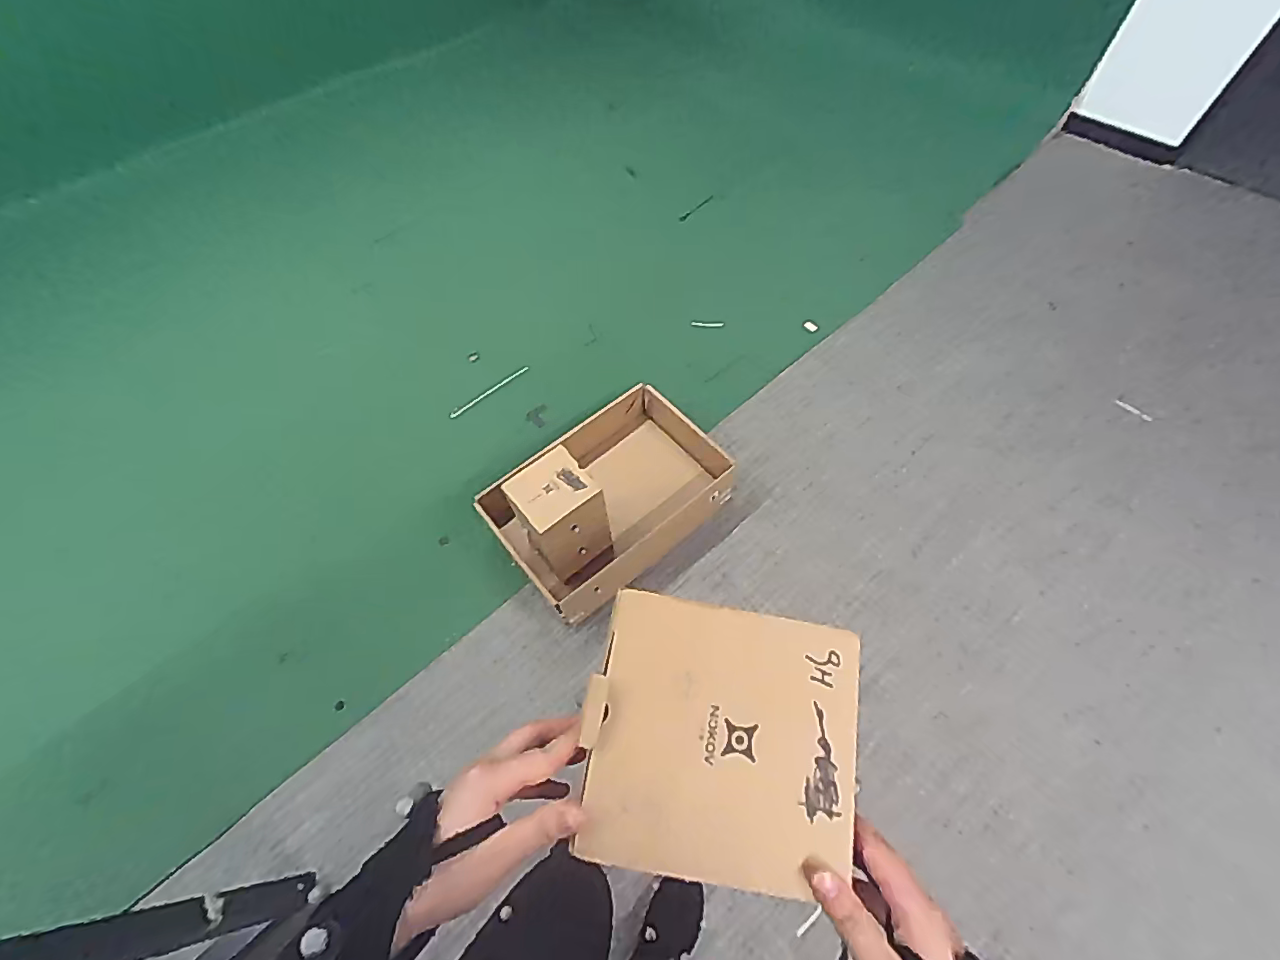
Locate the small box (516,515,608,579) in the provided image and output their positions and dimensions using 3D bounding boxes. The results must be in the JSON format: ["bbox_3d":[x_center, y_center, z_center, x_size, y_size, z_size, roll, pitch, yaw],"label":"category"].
[{"bbox_3d":[-0.197,0.135,1.435,0.179,0.176,0.168,-37,66,-19],"label":"small box"}]

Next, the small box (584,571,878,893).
[{"bbox_3d":[0.061,0.182,0.424,0.179,0.176,0.168,12,70,-1],"label":"small box"}]

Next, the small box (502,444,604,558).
[{"bbox_3d":[-0.199,0.054,1.292,0.179,0.176,0.168,-36,65,-18],"label":"small box"}]
